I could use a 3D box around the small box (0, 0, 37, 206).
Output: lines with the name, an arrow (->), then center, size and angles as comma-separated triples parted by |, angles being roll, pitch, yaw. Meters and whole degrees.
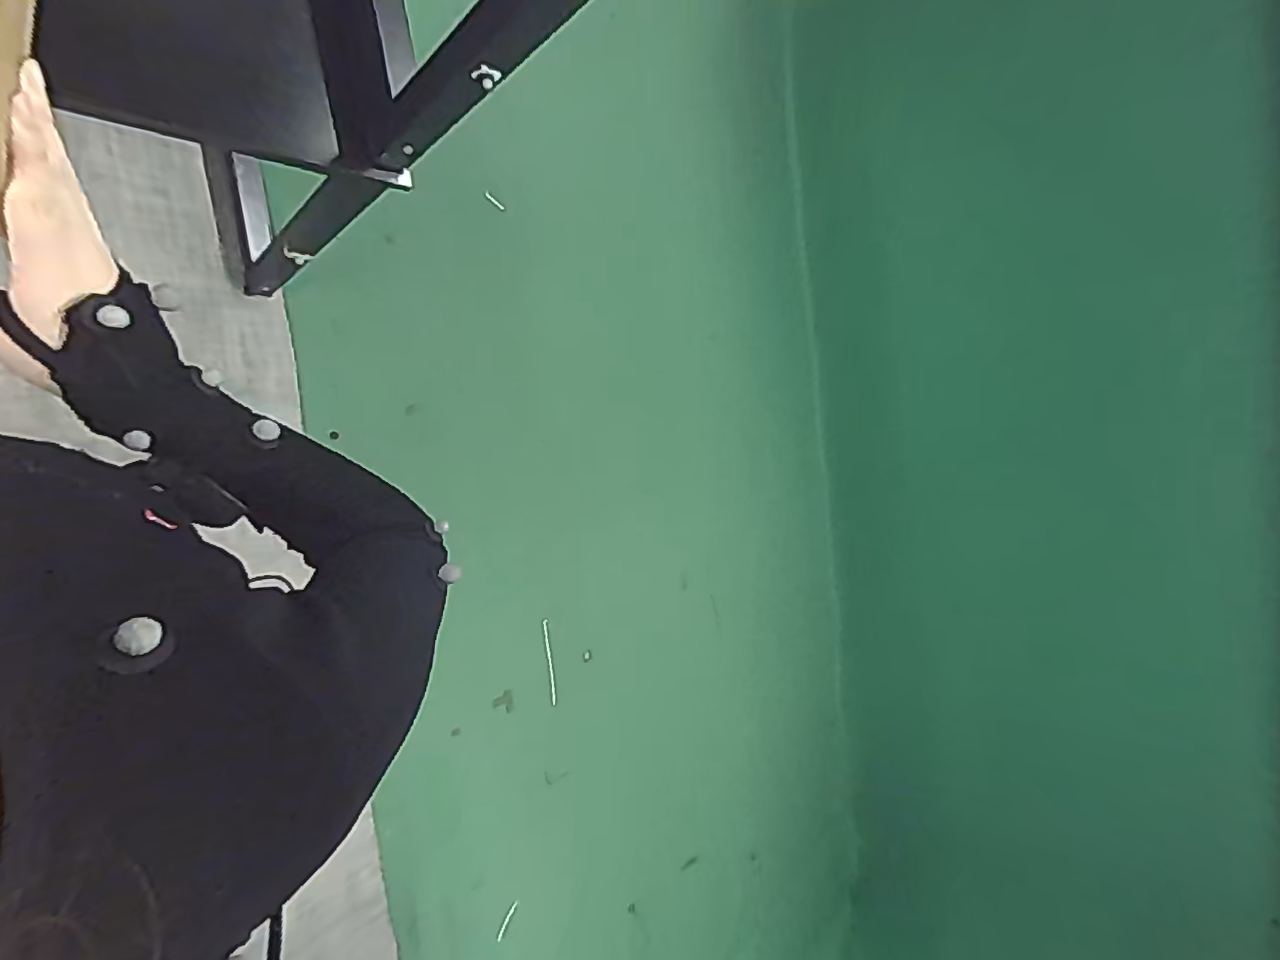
small box -> -0.334, -0.231, 0.182 | 0.168, 0.176, 0.179 | 6, 83, -46
